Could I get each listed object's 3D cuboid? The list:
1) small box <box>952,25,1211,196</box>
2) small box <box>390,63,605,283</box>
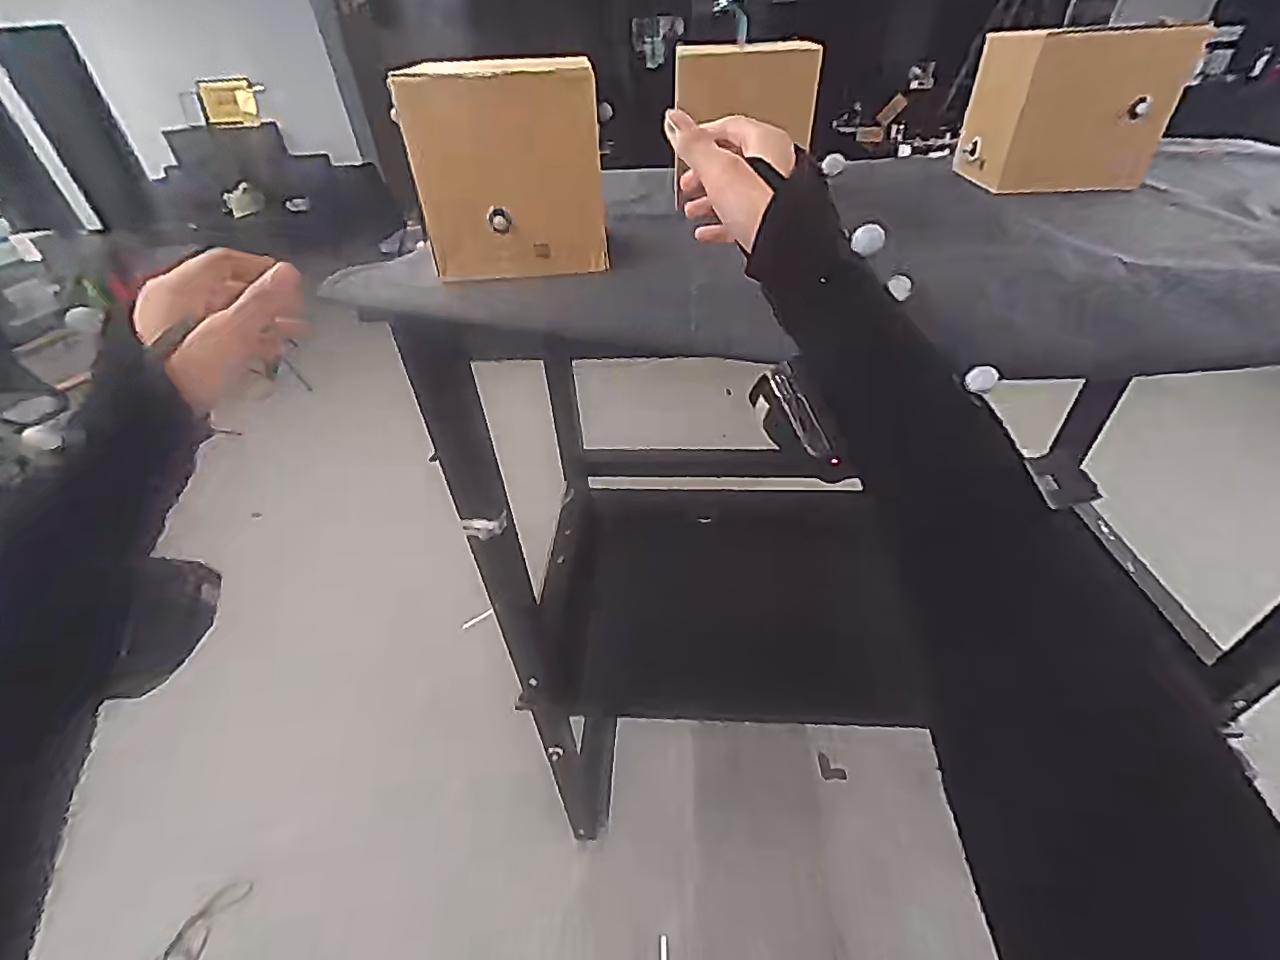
[{"bbox_3d":[0.549,-0.482,0.707,0.179,0.176,0.168,1,39,6],"label":"small box"},{"bbox_3d":[-0.125,-0.313,0.549,0.168,0.176,0.179,-5,40,-3],"label":"small box"}]
